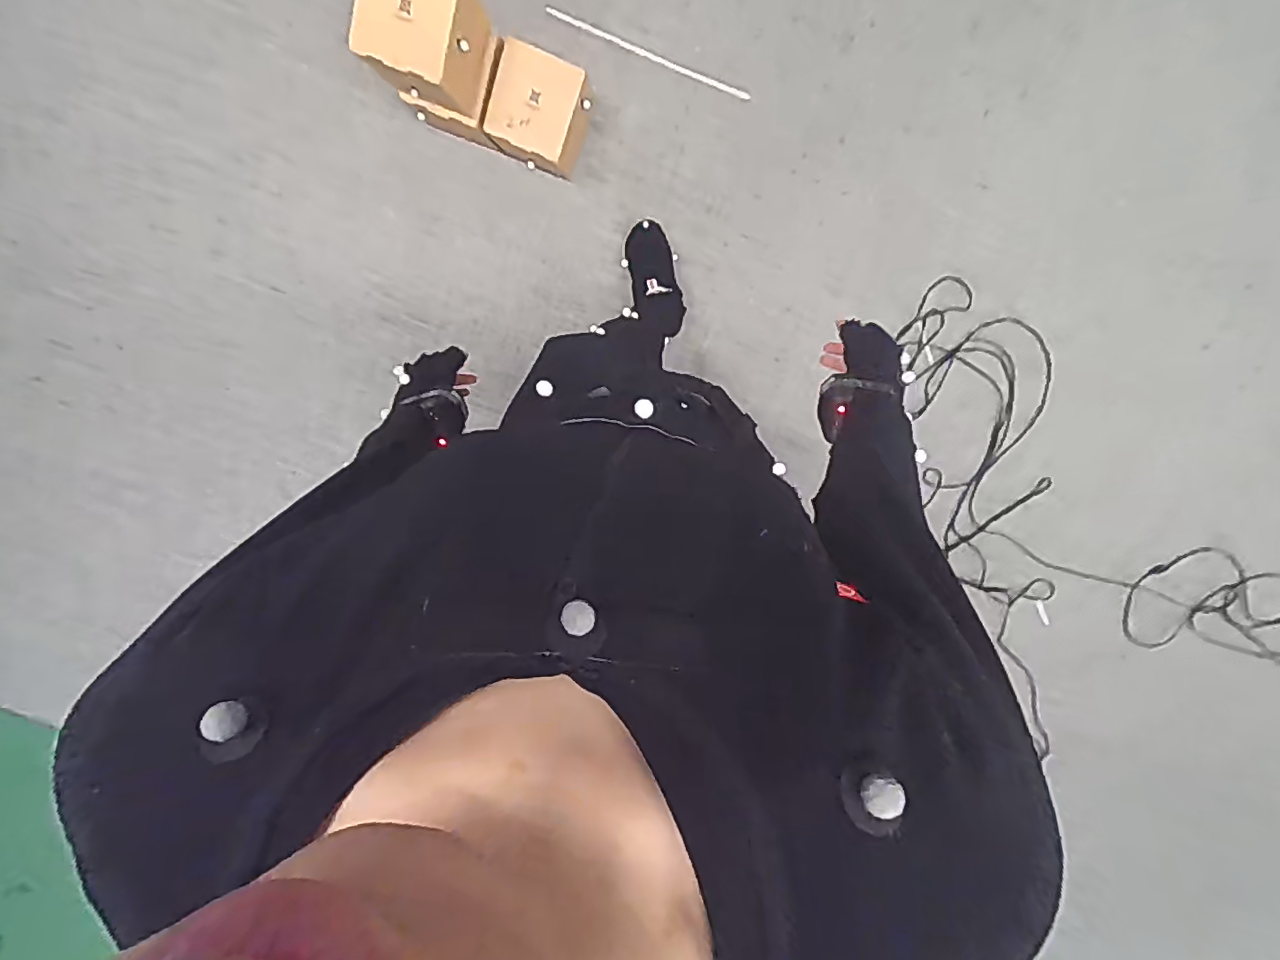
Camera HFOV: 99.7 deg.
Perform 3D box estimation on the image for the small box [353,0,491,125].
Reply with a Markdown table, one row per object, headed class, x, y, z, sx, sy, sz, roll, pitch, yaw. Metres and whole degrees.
| class | x | y | z | sx | sy | sz | roll | pitch | yaw |
| --- | --- | --- | --- | --- | --- | --- | --- | --- | --- |
| small box | -0.386 | -0.795 | 0.986 | 0.168 | 0.176 | 0.179 | 20 | 106 | -4 |
